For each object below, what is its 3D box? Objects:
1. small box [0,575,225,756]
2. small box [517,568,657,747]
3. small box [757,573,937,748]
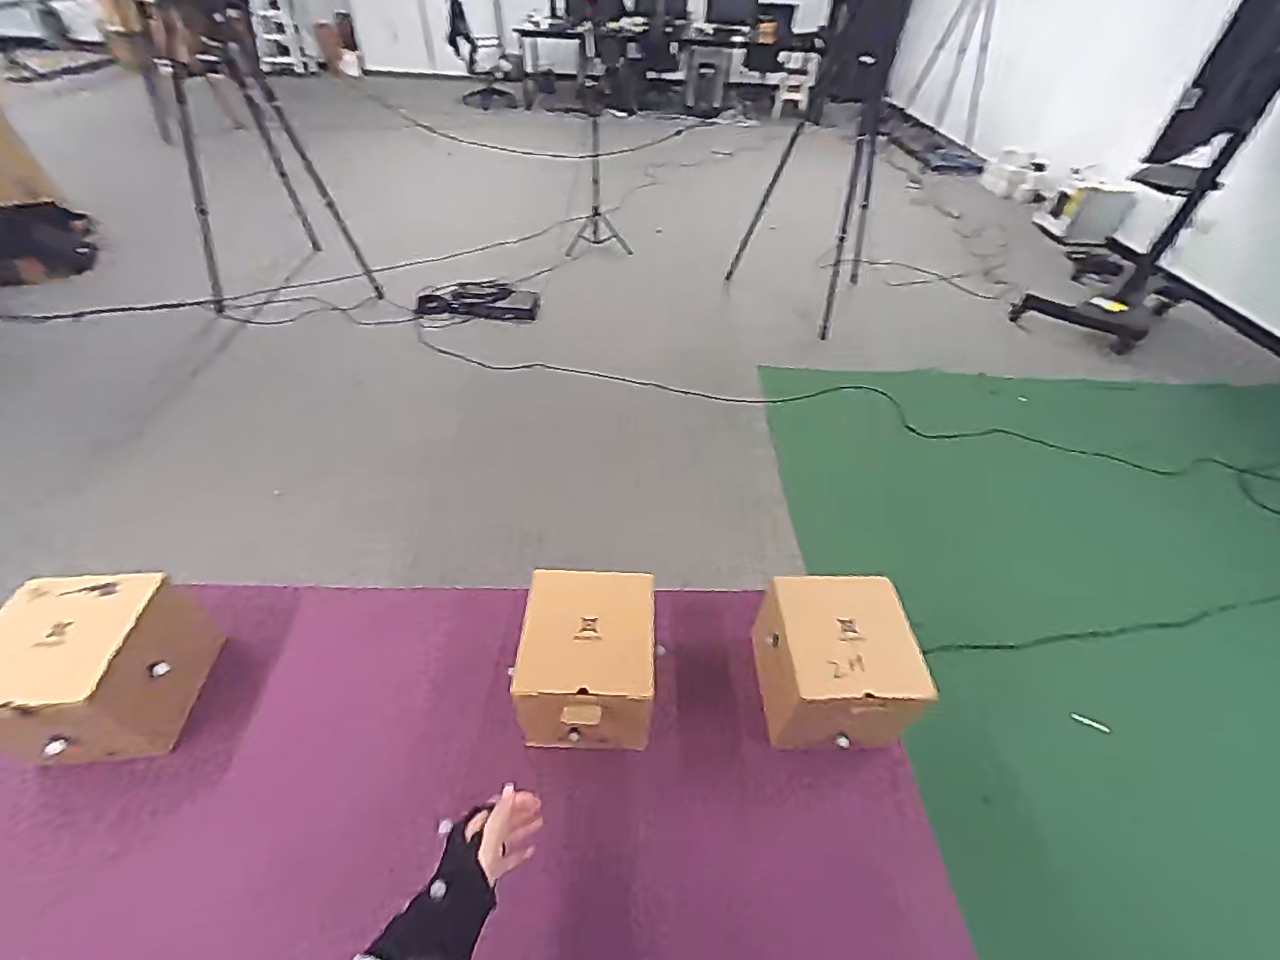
[{"bbox_3d":[-0.693,0.245,0.705,0.168,0.176,0.179,-2,46,-6],"label":"small box"},{"bbox_3d":[-0.064,0.243,0.743,0.168,0.176,0.179,2,46,-1],"label":"small box"},{"bbox_3d":[0.267,0.249,0.749,0.168,0.176,0.179,0,45,-1],"label":"small box"}]
